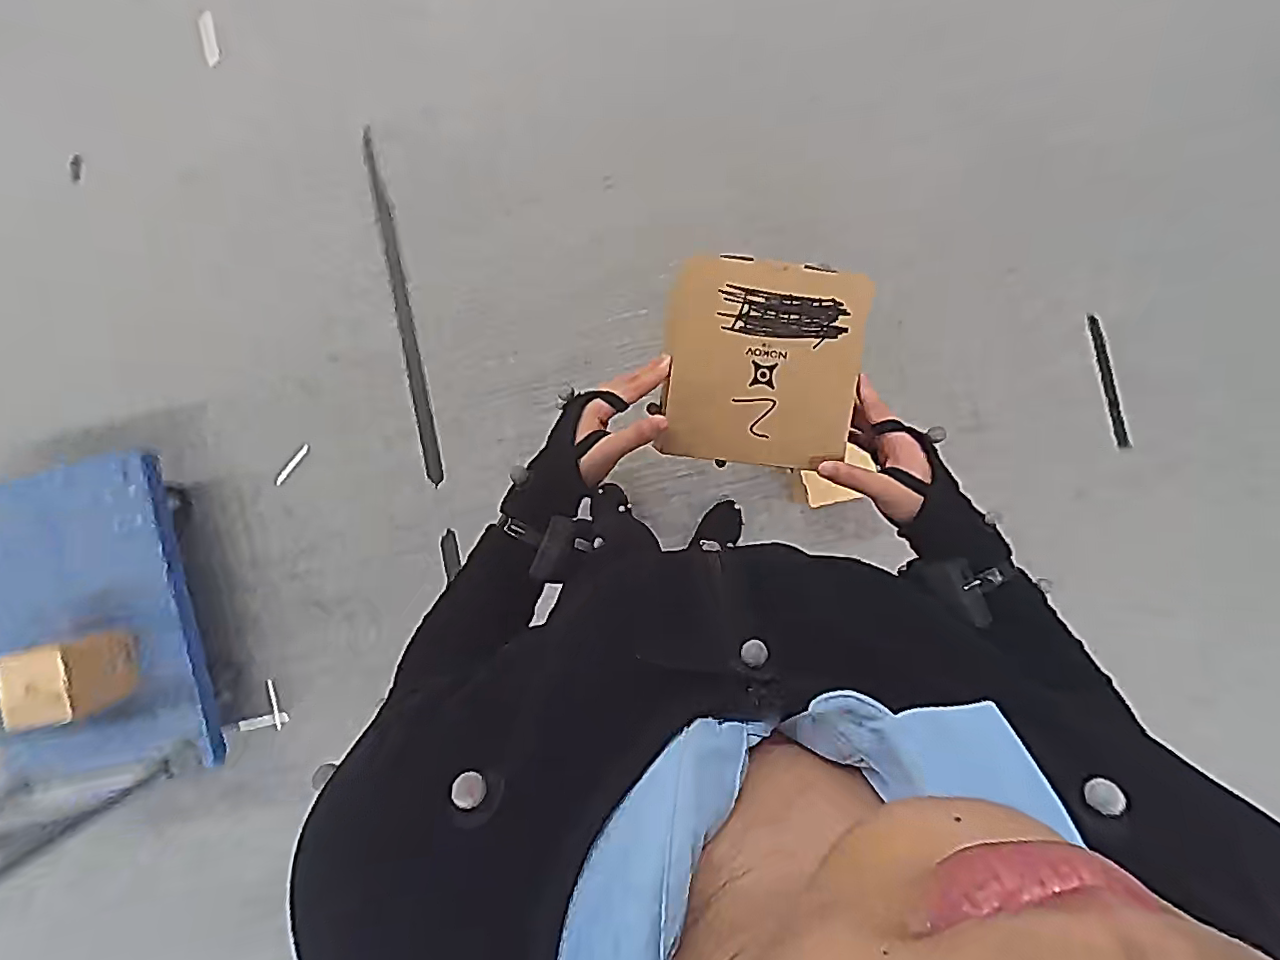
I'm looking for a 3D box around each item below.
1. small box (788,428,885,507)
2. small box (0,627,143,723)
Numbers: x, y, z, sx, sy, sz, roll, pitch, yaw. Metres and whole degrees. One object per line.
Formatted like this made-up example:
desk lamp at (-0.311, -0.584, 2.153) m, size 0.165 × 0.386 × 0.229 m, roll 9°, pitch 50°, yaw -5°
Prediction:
small box at (0.499, -0.033, 1.392) m, size 0.179 × 0.176 × 0.168 m, roll -13°, pitch 89°, yaw 4°
small box at (-1.387, 0.471, 1.326) m, size 0.179 × 0.176 × 0.168 m, roll -9°, pitch 90°, yaw 3°
